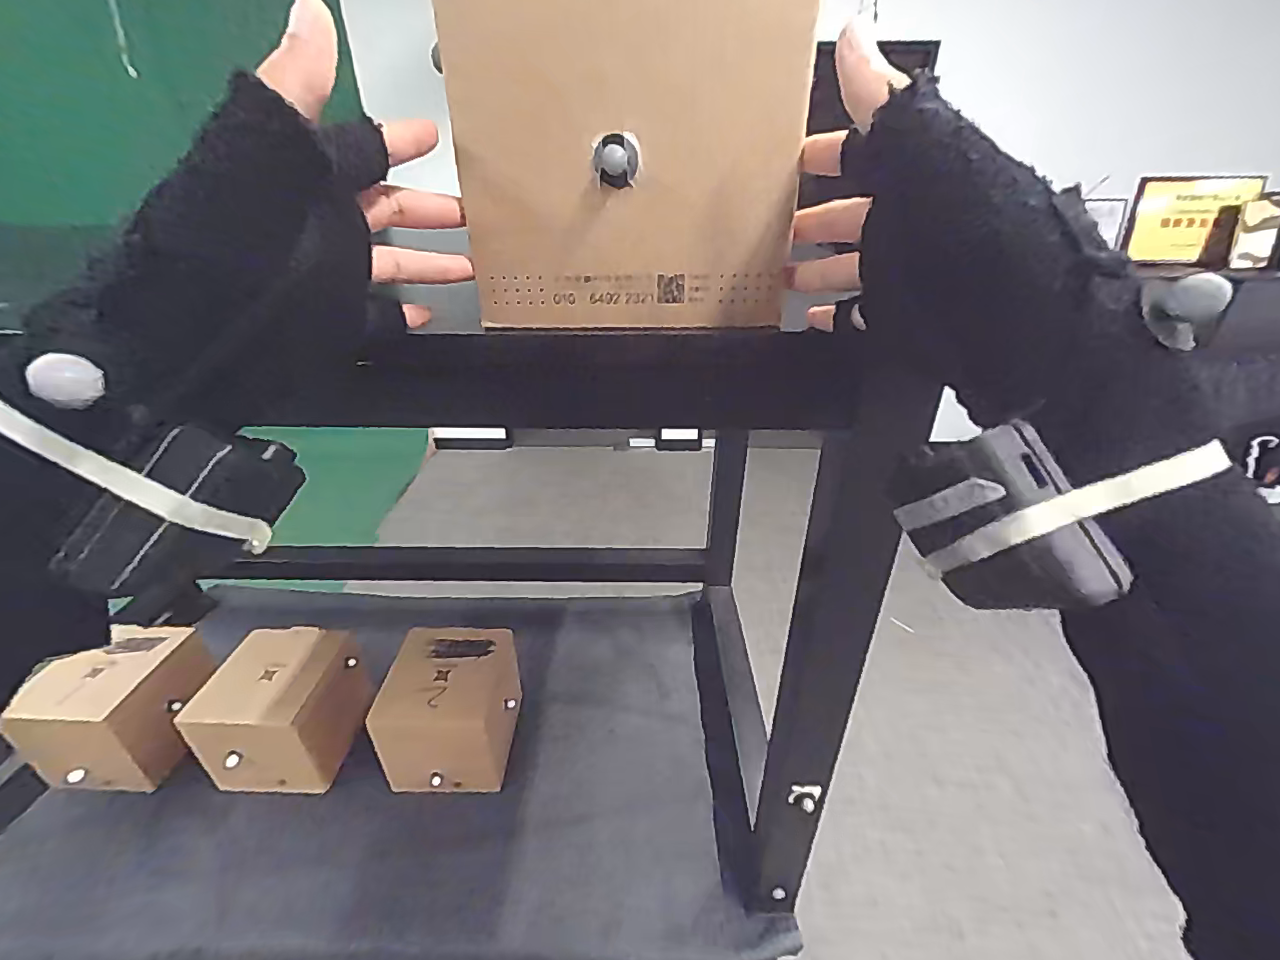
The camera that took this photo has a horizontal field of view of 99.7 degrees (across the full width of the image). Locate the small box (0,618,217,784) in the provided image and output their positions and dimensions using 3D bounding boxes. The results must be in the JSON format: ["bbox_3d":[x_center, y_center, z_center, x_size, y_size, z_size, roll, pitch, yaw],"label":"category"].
[{"bbox_3d":[-0.804,0.343,0.851,0.168,0.176,0.179,1,31,1],"label":"small box"}]

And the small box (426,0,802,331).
[{"bbox_3d":[-0.006,-0.194,0.330,0.168,0.176,0.179,1,30,1],"label":"small box"}]

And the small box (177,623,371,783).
[{"bbox_3d":[-0.551,0.348,0.850,0.168,0.176,0.179,1,30,1],"label":"small box"}]
